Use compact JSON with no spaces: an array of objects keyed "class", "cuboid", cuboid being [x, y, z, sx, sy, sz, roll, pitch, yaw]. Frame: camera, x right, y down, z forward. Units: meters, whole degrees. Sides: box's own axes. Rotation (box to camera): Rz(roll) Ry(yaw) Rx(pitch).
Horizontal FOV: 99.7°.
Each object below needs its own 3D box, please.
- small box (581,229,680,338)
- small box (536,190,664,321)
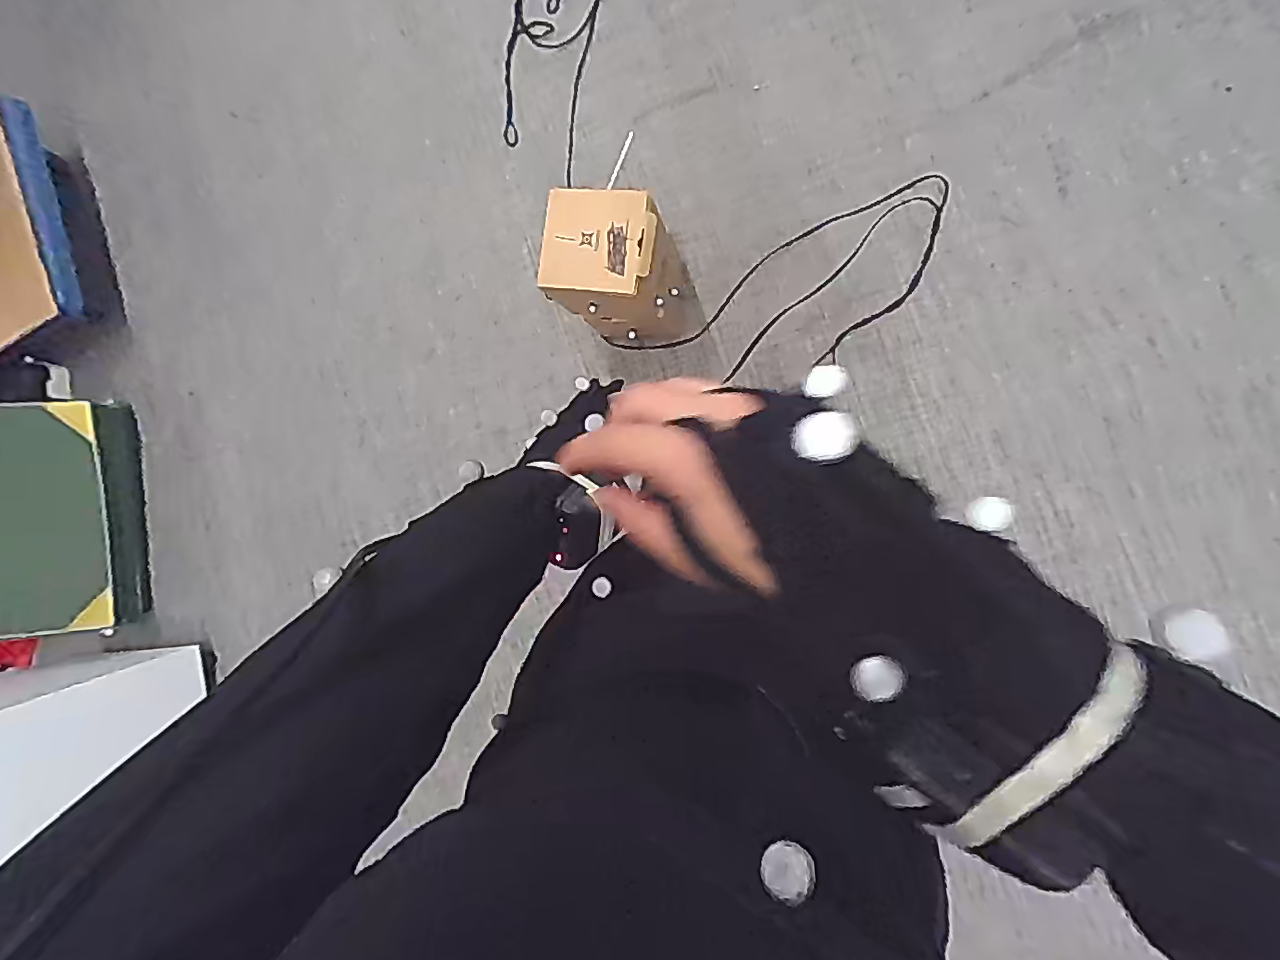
[{"class":"small box","cuboid":[-0.014,-0.398,1.122,0.168,0.176,0.179,4,93,13]},{"class":"small box","cuboid":[-0.062,-0.391,0.963,0.179,0.176,0.168,10,93,14]}]
